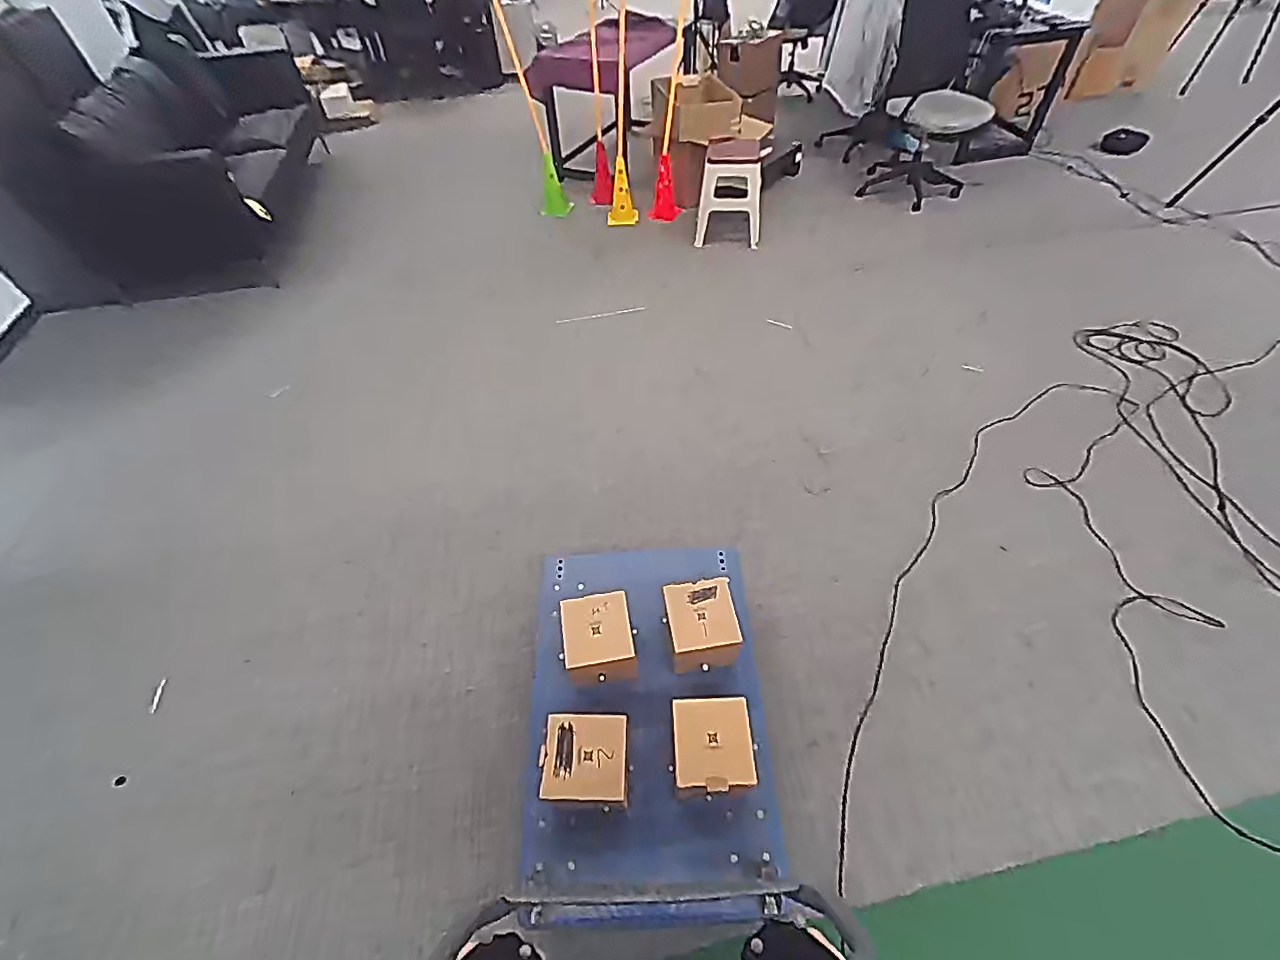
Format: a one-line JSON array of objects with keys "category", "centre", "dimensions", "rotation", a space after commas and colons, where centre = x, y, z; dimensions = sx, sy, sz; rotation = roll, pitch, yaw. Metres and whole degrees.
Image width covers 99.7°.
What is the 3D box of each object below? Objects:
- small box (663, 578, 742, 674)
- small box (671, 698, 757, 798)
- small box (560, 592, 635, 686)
[{"category": "small box", "centre": [0.152, 0.377, 1.390], "dimensions": [0.168, 0.176, 0.179], "rotation": [-8, 54, -3]}, {"category": "small box", "centre": [0.158, 0.605, 1.219], "dimensions": [0.168, 0.176, 0.179], "rotation": [-2, 54, 0]}, {"category": "small box", "centre": [-0.105, 0.410, 1.374], "dimensions": [0.168, 0.176, 0.179], "rotation": [-8, 53, -5]}]
